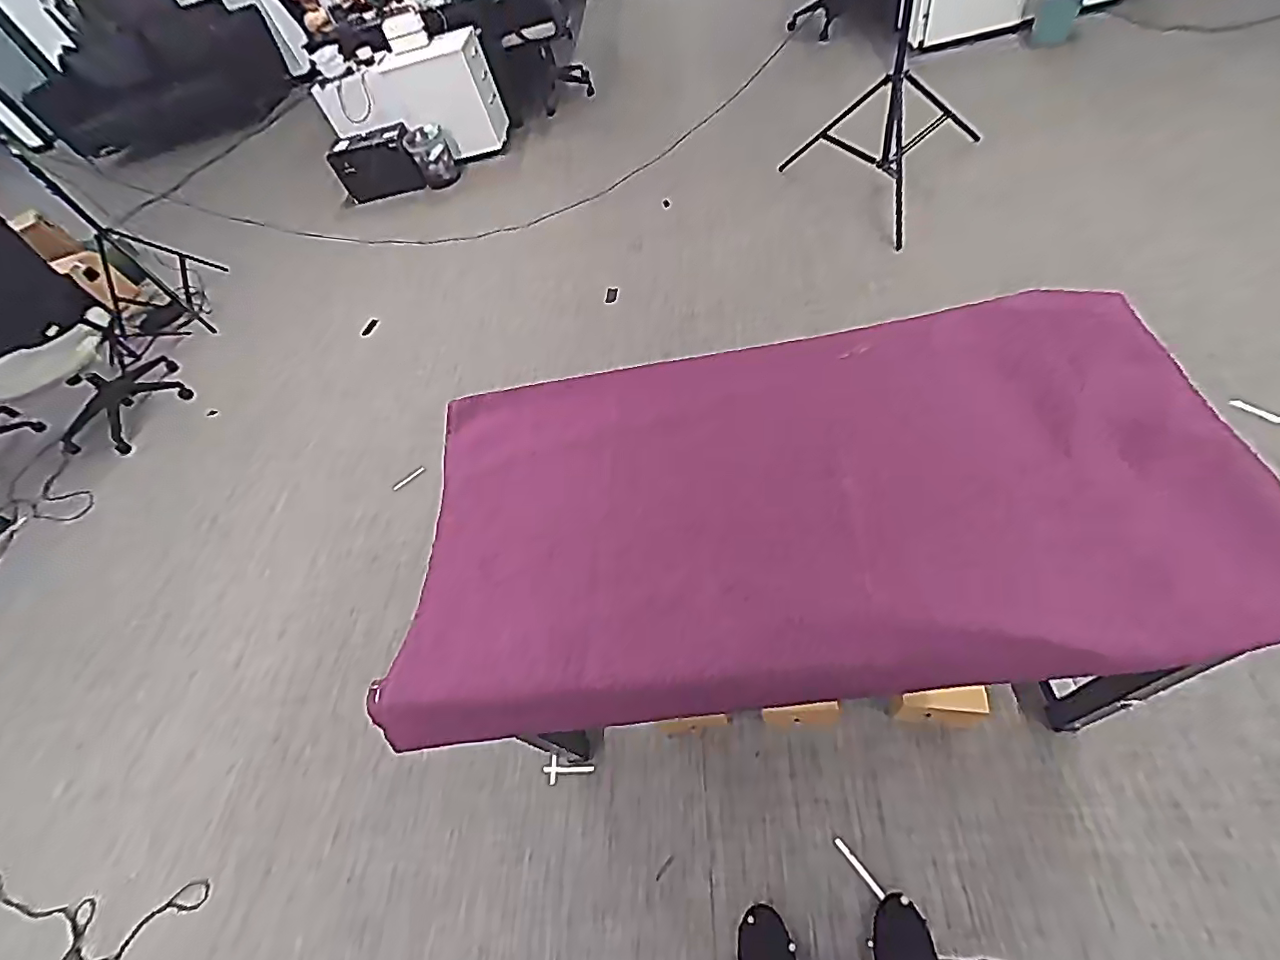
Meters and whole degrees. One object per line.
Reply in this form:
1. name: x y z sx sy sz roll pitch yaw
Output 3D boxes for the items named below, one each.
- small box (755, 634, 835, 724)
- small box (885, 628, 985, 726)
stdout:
1. small box: 0.372 0.488 1.313 0.168 0.176 0.179 -6 54 11
2. small box: 0.674 0.460 1.254 0.168 0.176 0.179 0 55 15
